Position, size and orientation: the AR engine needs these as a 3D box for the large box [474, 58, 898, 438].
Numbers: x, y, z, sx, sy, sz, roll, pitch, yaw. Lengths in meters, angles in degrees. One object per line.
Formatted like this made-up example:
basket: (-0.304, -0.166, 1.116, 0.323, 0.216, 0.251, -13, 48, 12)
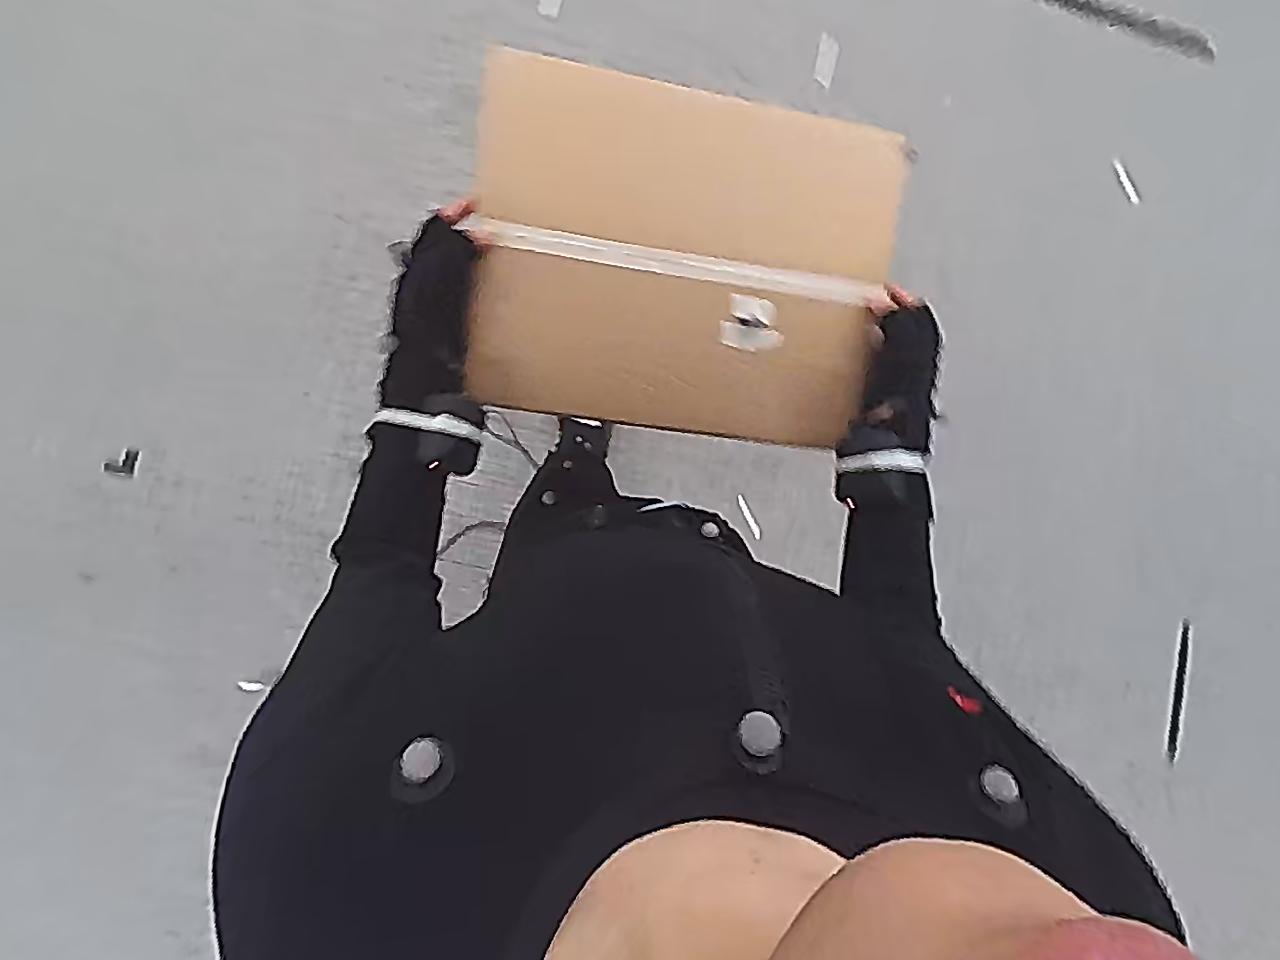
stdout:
large box: (0.030, -0.236, 0.685, 0.408, 0.320, 0.320, 7, 97, -8)
